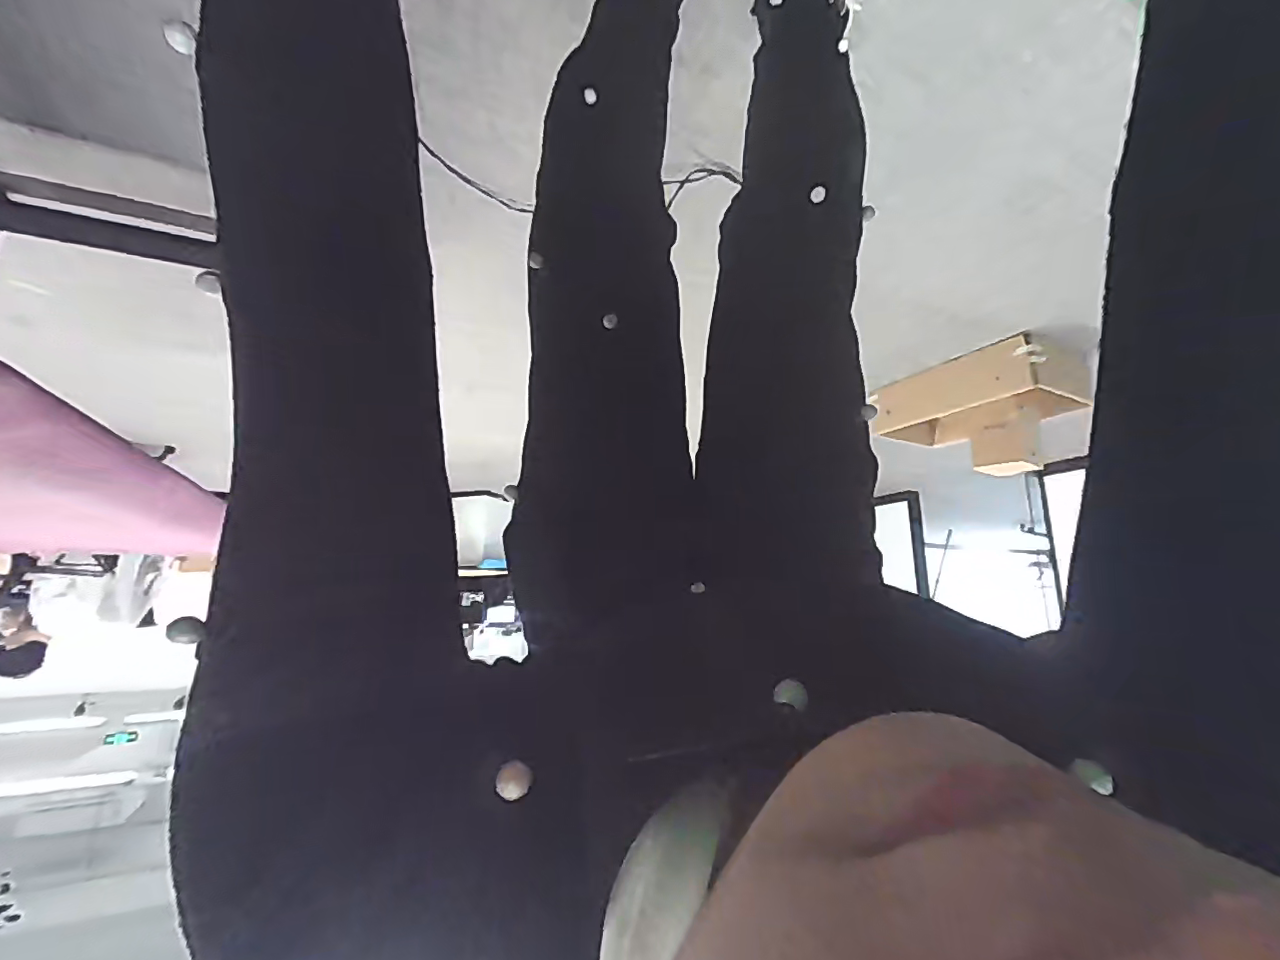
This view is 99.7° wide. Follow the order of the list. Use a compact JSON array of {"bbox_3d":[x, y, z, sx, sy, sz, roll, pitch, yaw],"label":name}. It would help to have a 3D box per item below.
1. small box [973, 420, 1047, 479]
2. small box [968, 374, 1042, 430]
[{"bbox_3d":[1.311,-0.107,1.915,0.179,0.176,0.168,10,166,-34],"label":"small box"},{"bbox_3d":[1.311,-0.268,1.943,0.179,0.176,0.168,9,168,-30],"label":"small box"}]
